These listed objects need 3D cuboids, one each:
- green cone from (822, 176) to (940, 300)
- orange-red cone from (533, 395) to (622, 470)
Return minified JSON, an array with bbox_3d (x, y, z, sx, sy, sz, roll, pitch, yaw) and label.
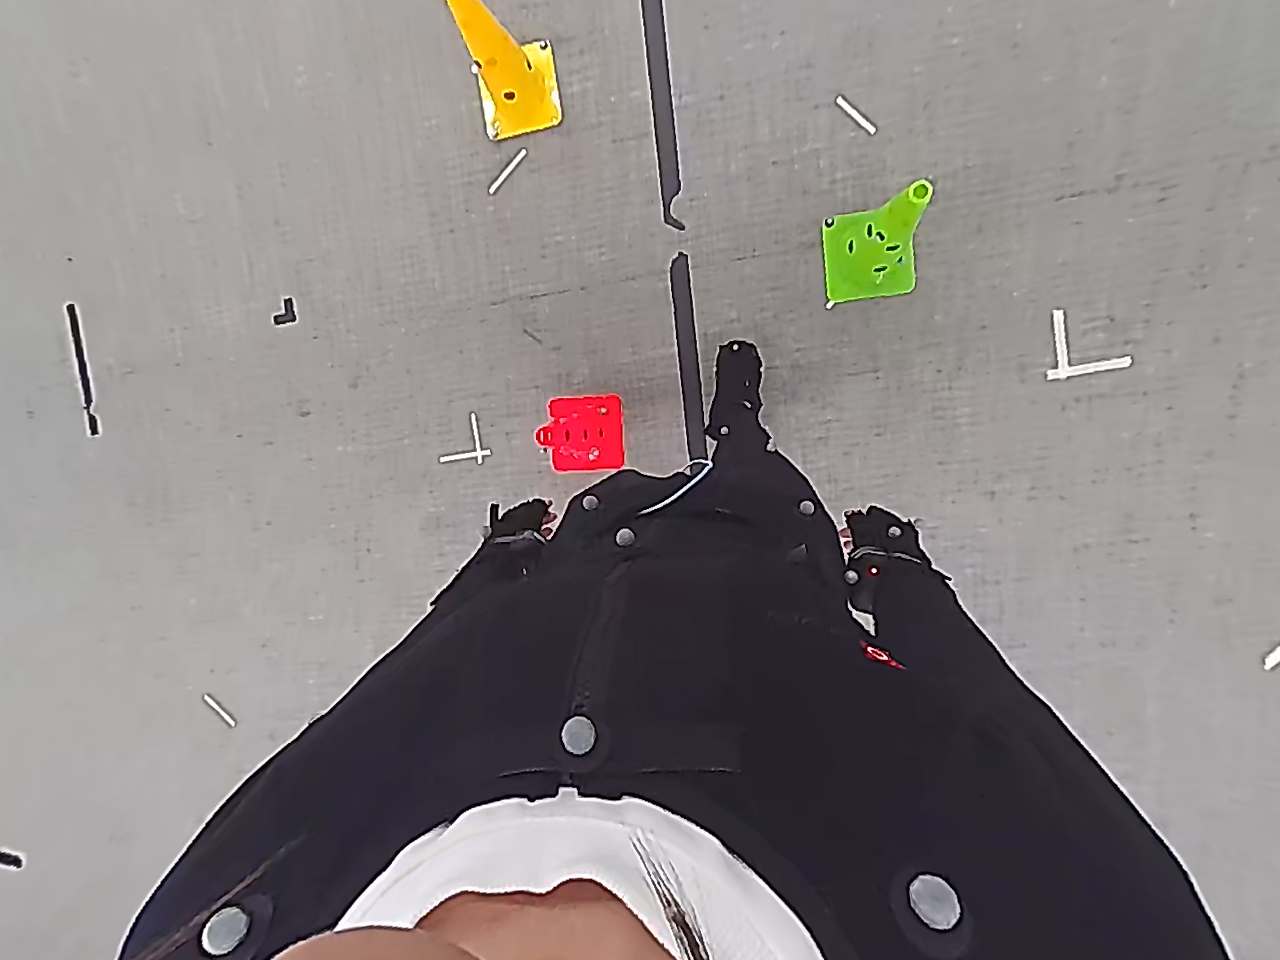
[{"bbox_3d":[0.515,-0.518,1.108,0.202,0.368,0.200,-6,95,8],"label":"green cone"},{"bbox_3d":[-0.172,-0.111,1.262,0.199,0.360,0.198,-1,95,10],"label":"orange-red cone"}]
